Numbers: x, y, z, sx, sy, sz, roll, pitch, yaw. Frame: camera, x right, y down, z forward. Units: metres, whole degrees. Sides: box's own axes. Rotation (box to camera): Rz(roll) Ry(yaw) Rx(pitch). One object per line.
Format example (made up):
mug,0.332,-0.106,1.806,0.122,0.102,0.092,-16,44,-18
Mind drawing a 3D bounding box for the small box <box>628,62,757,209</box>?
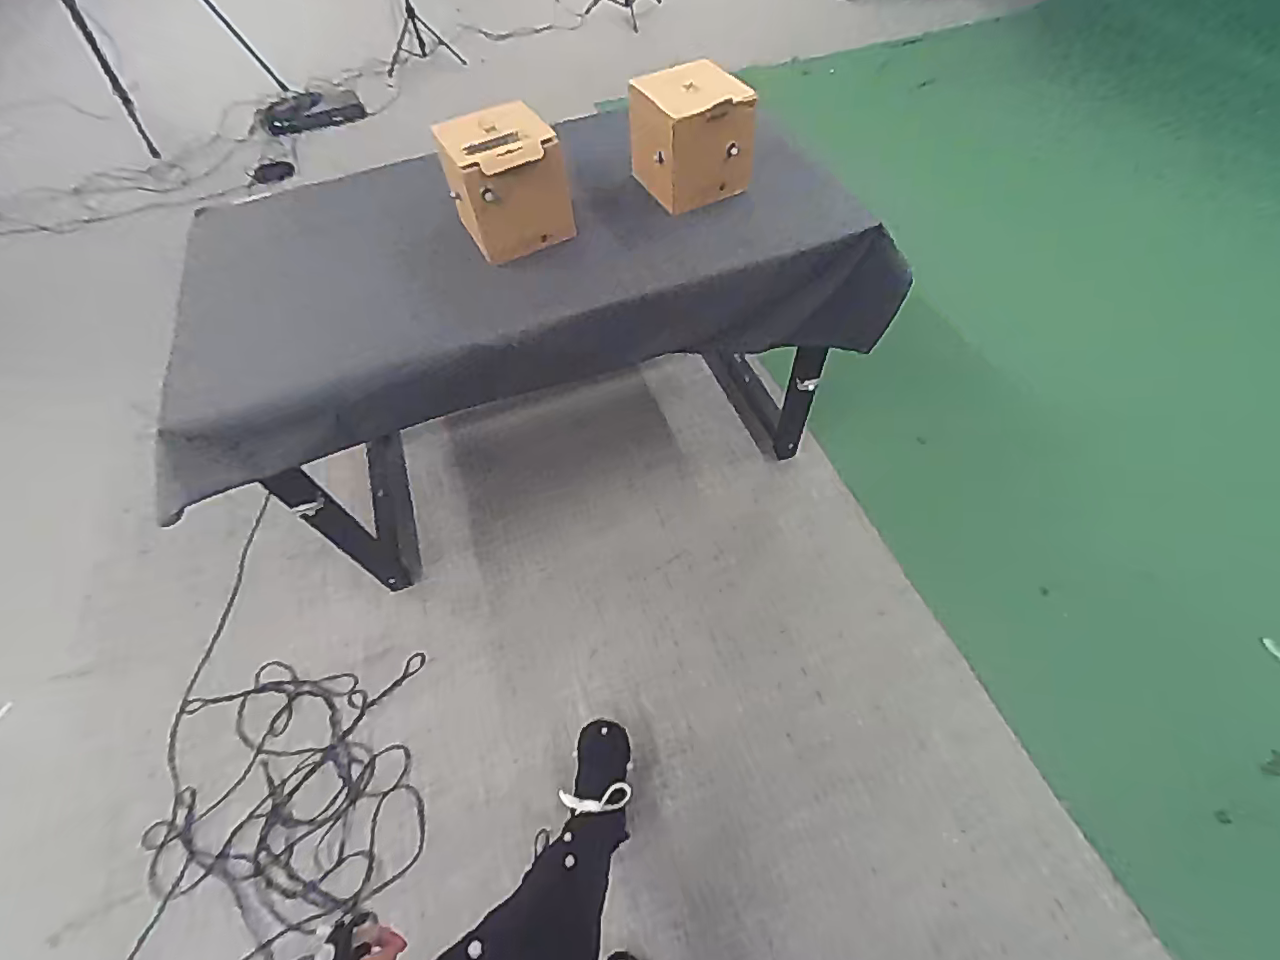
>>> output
small box,0.092,-0.625,0.995,0.168,0.176,0.179,-24,58,-13
